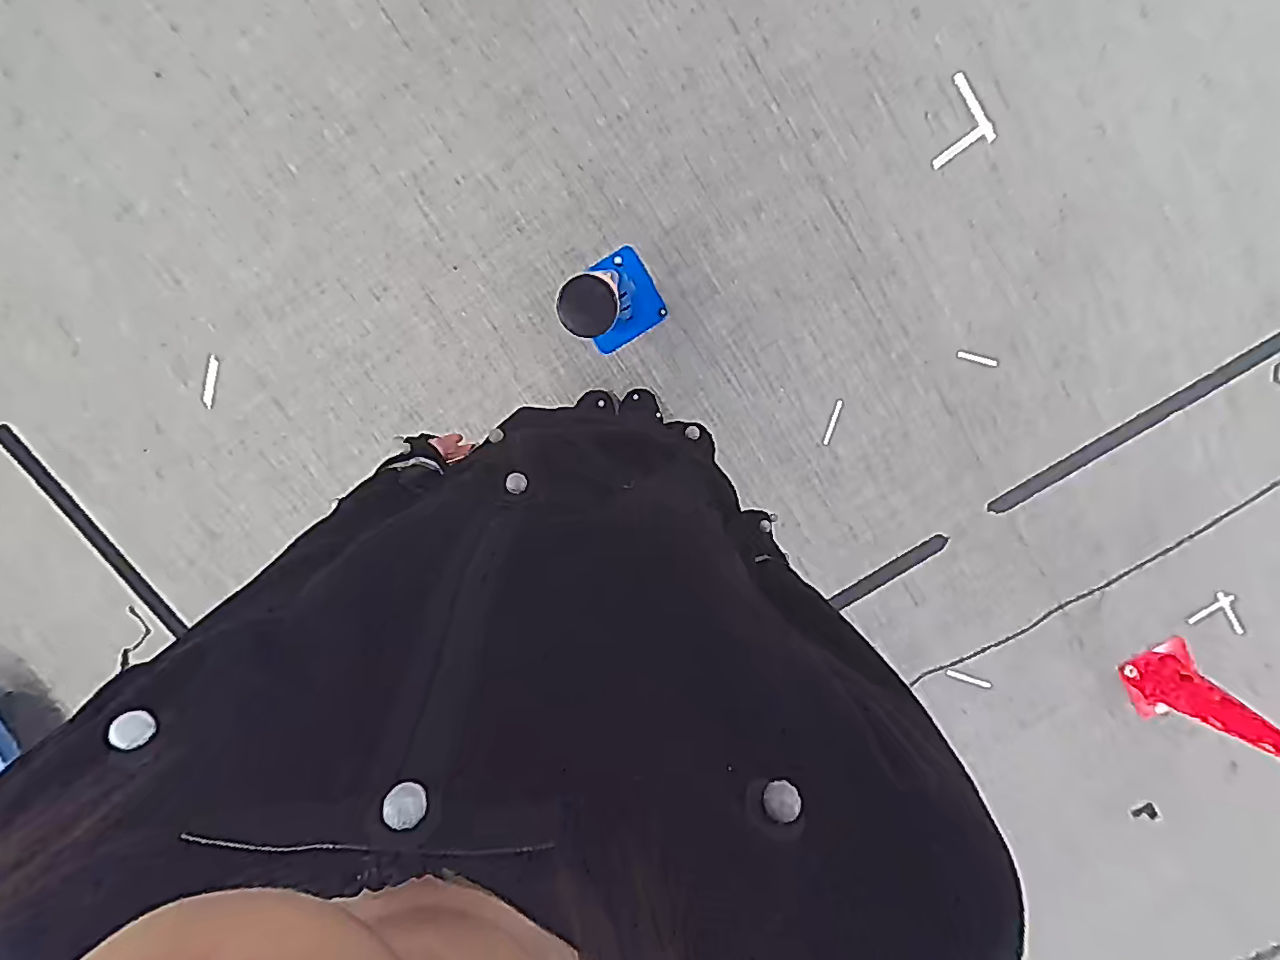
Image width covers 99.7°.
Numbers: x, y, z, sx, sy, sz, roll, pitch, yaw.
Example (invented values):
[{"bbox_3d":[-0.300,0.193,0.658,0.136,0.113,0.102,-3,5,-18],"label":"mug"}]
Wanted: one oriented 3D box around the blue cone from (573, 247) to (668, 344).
[{"bbox_3d":[-0.047,-0.420,1.170,0.192,0.380,0.193,-30,100,4],"label":"blue cone"}]
